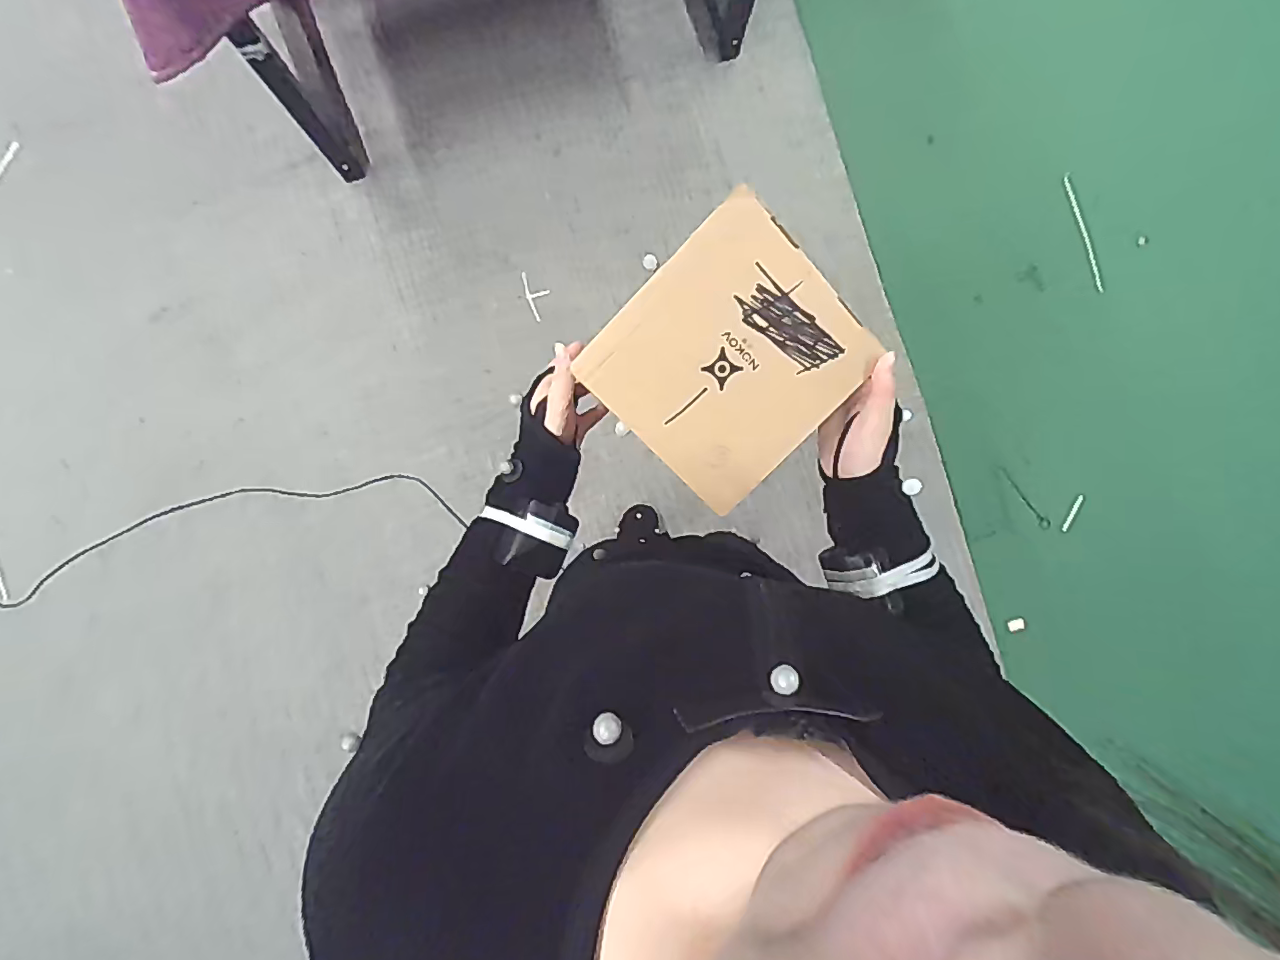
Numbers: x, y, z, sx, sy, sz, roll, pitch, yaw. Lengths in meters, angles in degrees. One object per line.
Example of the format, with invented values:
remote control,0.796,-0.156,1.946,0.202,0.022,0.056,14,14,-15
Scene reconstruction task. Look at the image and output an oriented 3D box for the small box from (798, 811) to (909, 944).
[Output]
small box,0.449,0.827,1.126,0.168,0.176,0.179,-14,91,-4
